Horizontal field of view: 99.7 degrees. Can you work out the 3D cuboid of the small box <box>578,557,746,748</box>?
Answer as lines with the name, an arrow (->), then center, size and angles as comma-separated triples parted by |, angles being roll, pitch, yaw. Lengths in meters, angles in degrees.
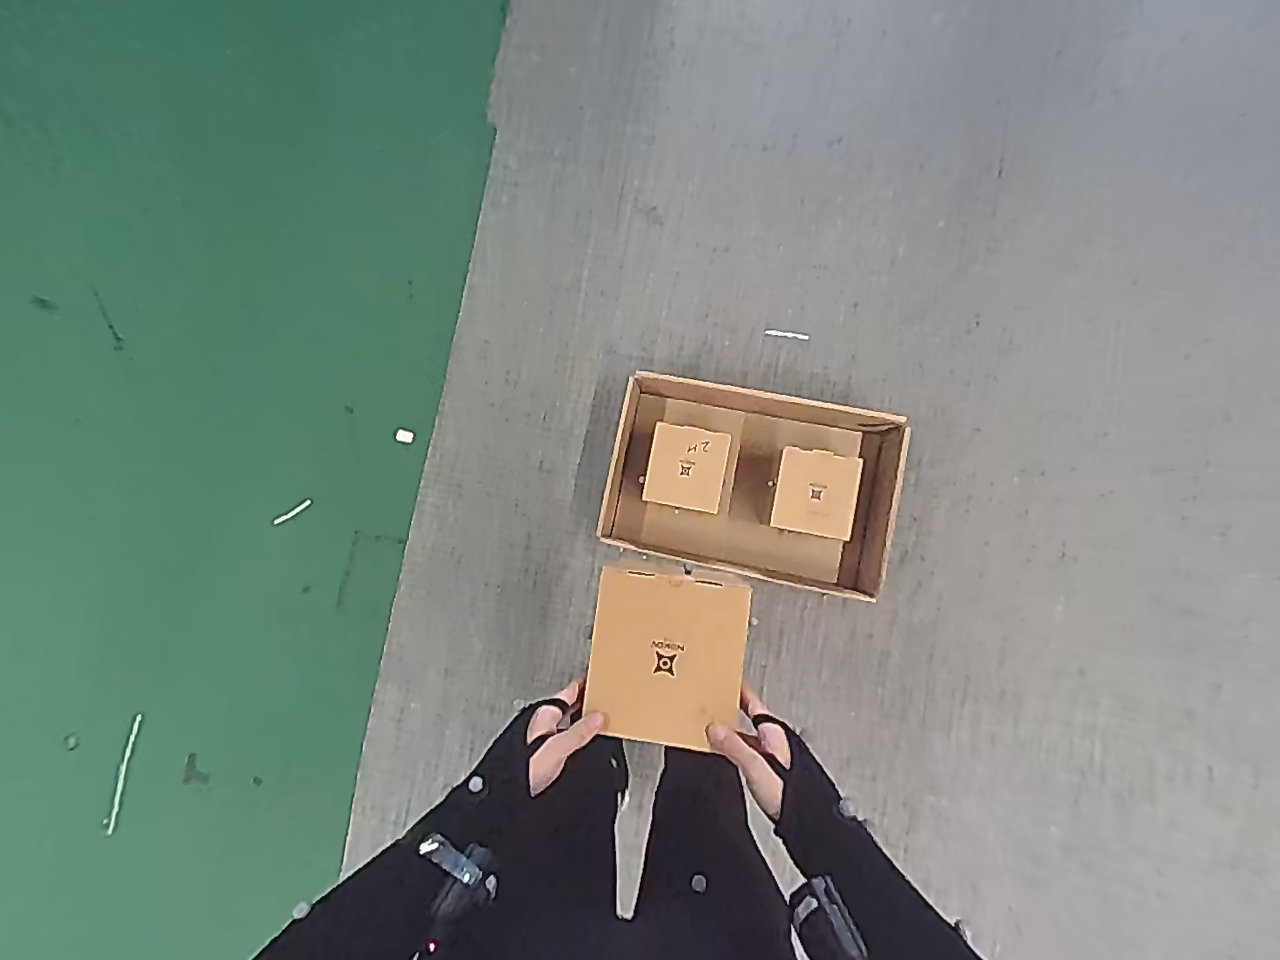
small box -> 0.032, 0.193, 0.656 | 0.168, 0.176, 0.179 | 6, 84, 6

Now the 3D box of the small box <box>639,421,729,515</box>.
small box -> 0.101, -0.019, 1.230 | 0.168, 0.176, 0.179 | 11, 85, 6

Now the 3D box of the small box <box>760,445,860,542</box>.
small box -> 0.369, 0.034, 1.201 | 0.168, 0.176, 0.179 | 11, 87, 8
